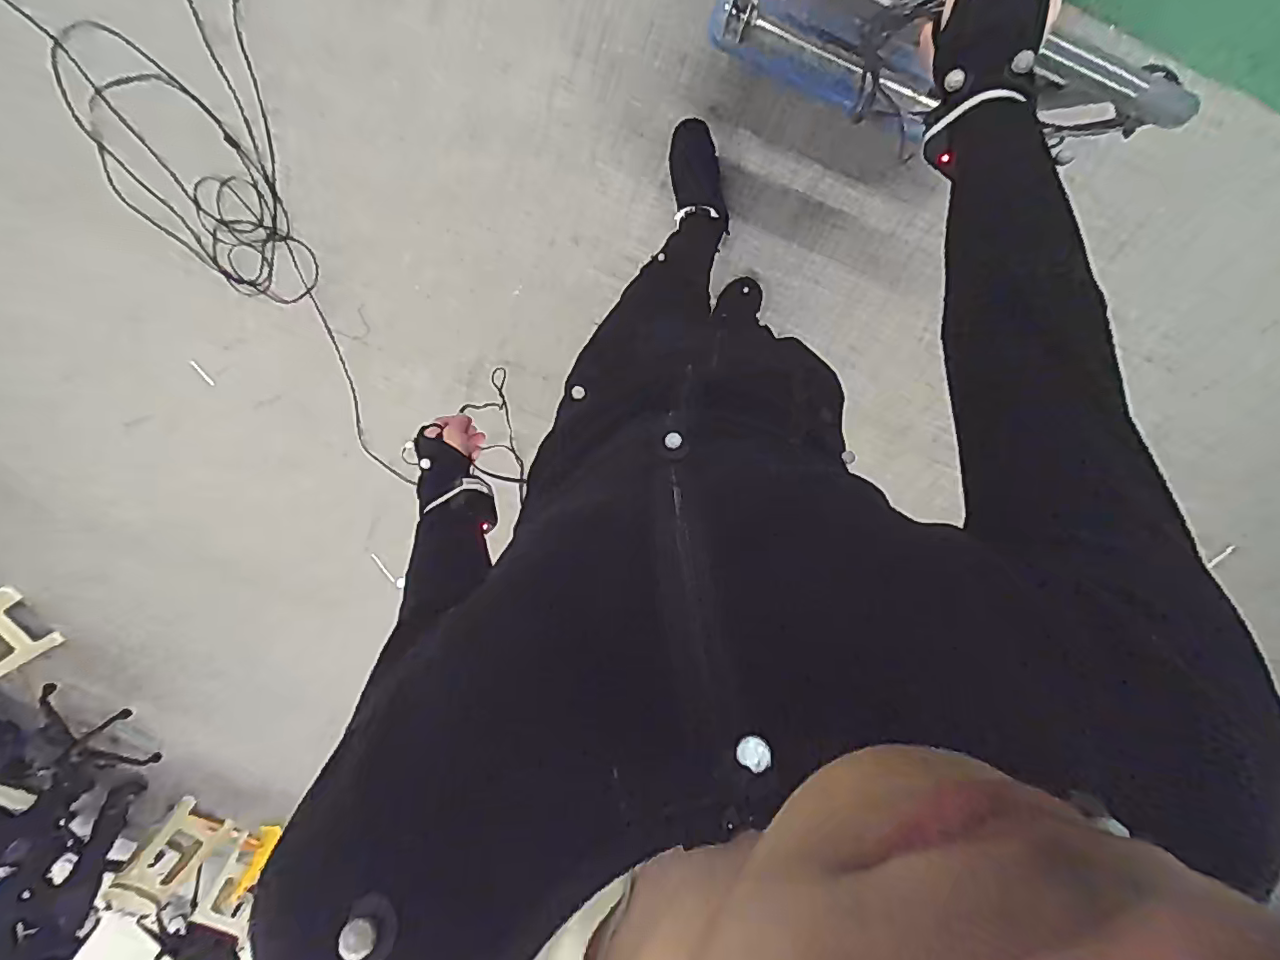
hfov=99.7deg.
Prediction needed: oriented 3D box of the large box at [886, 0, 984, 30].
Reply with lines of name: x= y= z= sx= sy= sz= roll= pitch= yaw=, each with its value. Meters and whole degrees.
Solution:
large box: x=0.475 y=-0.967 z=0.757 sx=0.320 sy=0.320 sz=0.408 roll=24 pitch=118 yaw=-5
